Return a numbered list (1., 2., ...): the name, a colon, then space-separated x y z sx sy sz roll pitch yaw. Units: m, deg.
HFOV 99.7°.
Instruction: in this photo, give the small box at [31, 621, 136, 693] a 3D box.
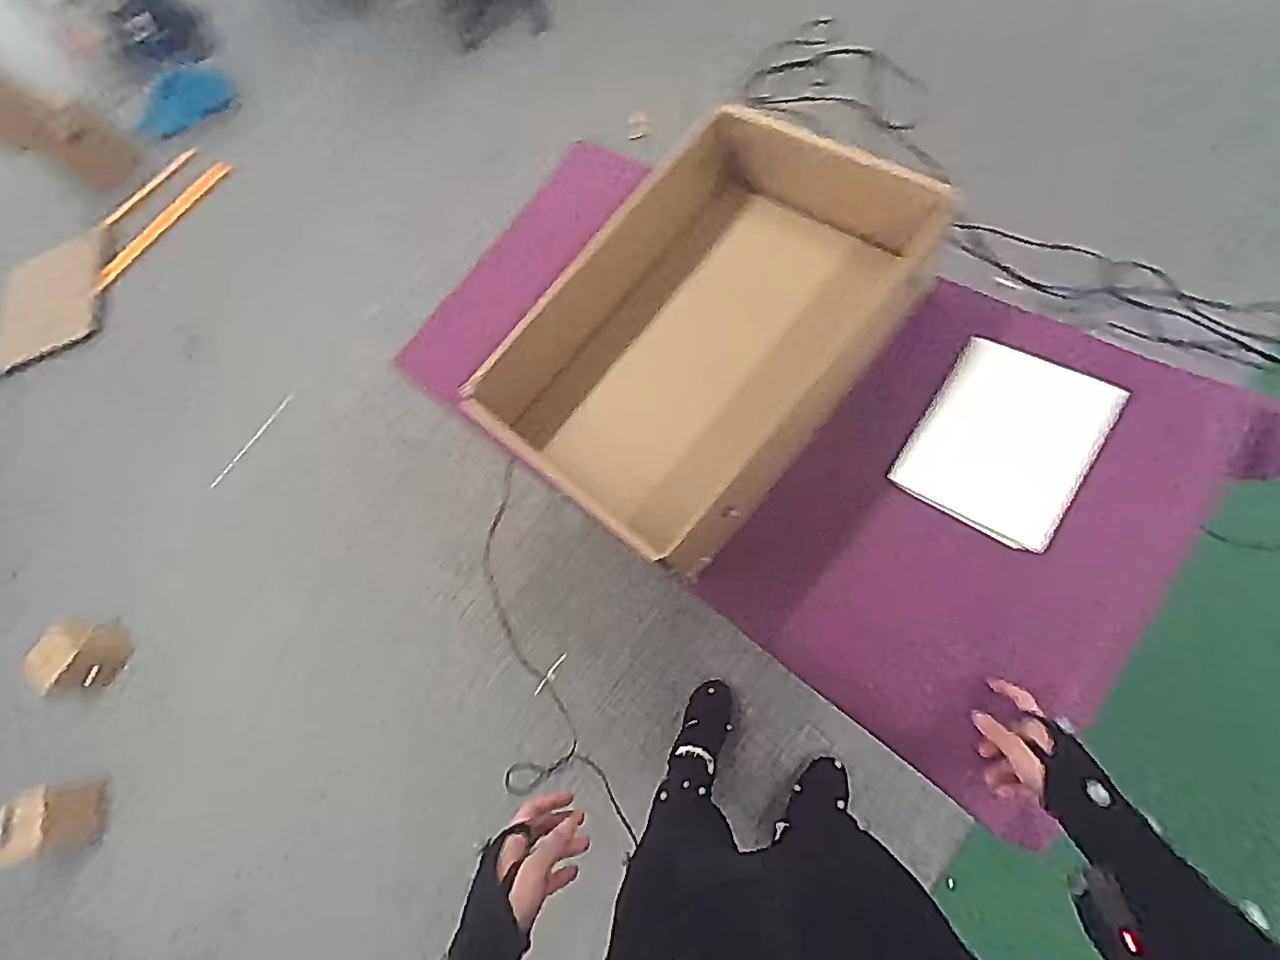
1. small box: -1.895 0.604 1.849 0.179 0.176 0.168 32 80 22
